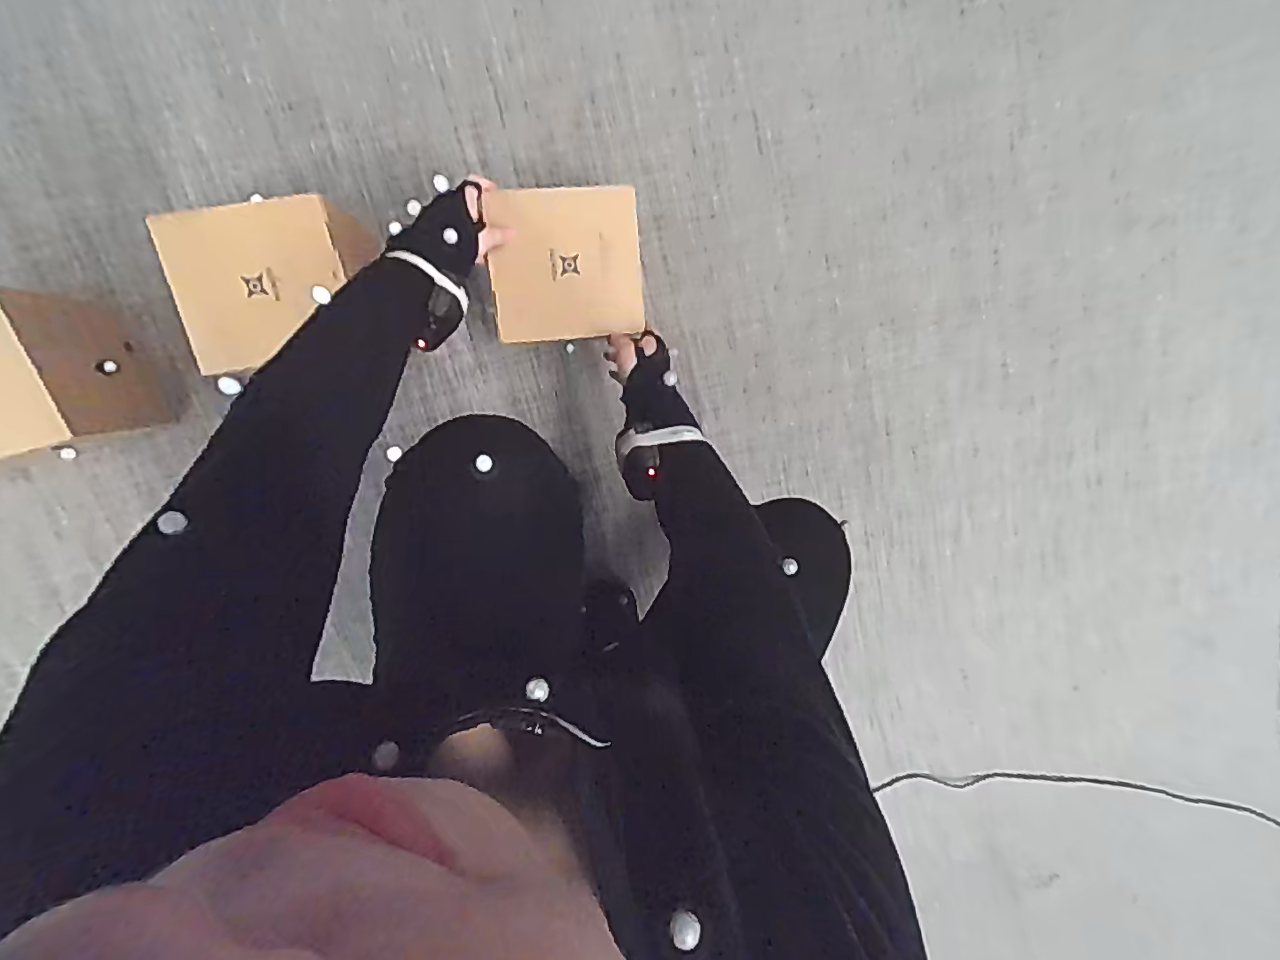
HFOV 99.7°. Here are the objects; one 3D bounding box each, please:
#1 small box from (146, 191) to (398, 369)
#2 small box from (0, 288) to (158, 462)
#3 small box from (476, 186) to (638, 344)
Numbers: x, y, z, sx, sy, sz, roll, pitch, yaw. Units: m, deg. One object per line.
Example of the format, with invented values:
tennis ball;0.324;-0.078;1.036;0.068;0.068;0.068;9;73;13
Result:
small box;-0.425;-0.230;0.660;0.179;0.176;0.168;-12;104;-7
small box;-0.730;-0.118;0.637;0.179;0.176;0.168;-17;104;-5
small box;-0.102;-0.265;0.700;0.179;0.176;0.168;-5;104;-8
